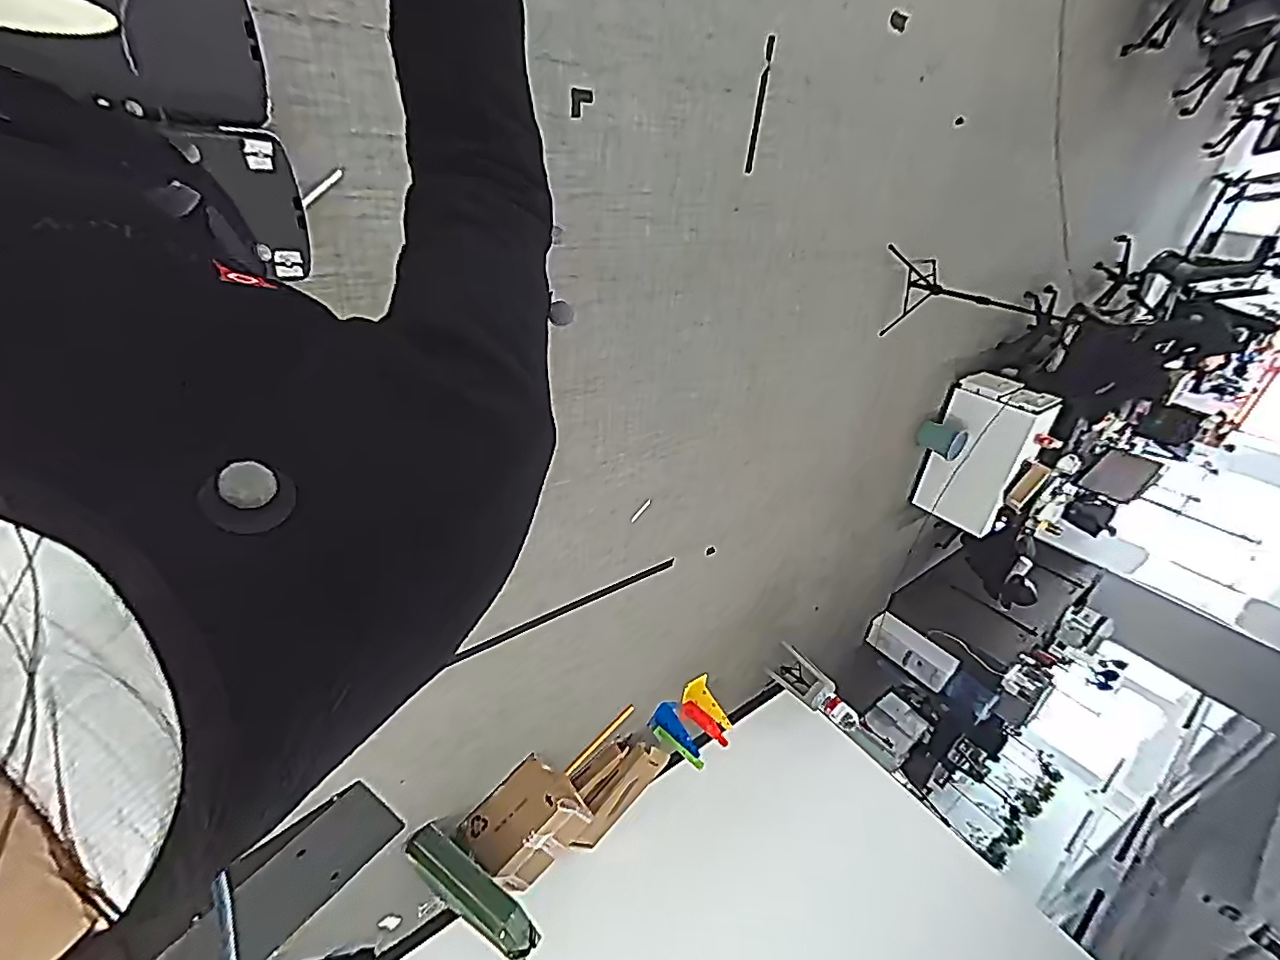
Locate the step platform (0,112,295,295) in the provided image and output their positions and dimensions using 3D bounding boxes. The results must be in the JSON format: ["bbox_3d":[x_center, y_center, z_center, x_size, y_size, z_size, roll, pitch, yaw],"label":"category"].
[{"bbox_3d":[-1.051,-0.513,1.007,0.684,0.204,0.286,-17,127,-31],"label":"step platform"}]
